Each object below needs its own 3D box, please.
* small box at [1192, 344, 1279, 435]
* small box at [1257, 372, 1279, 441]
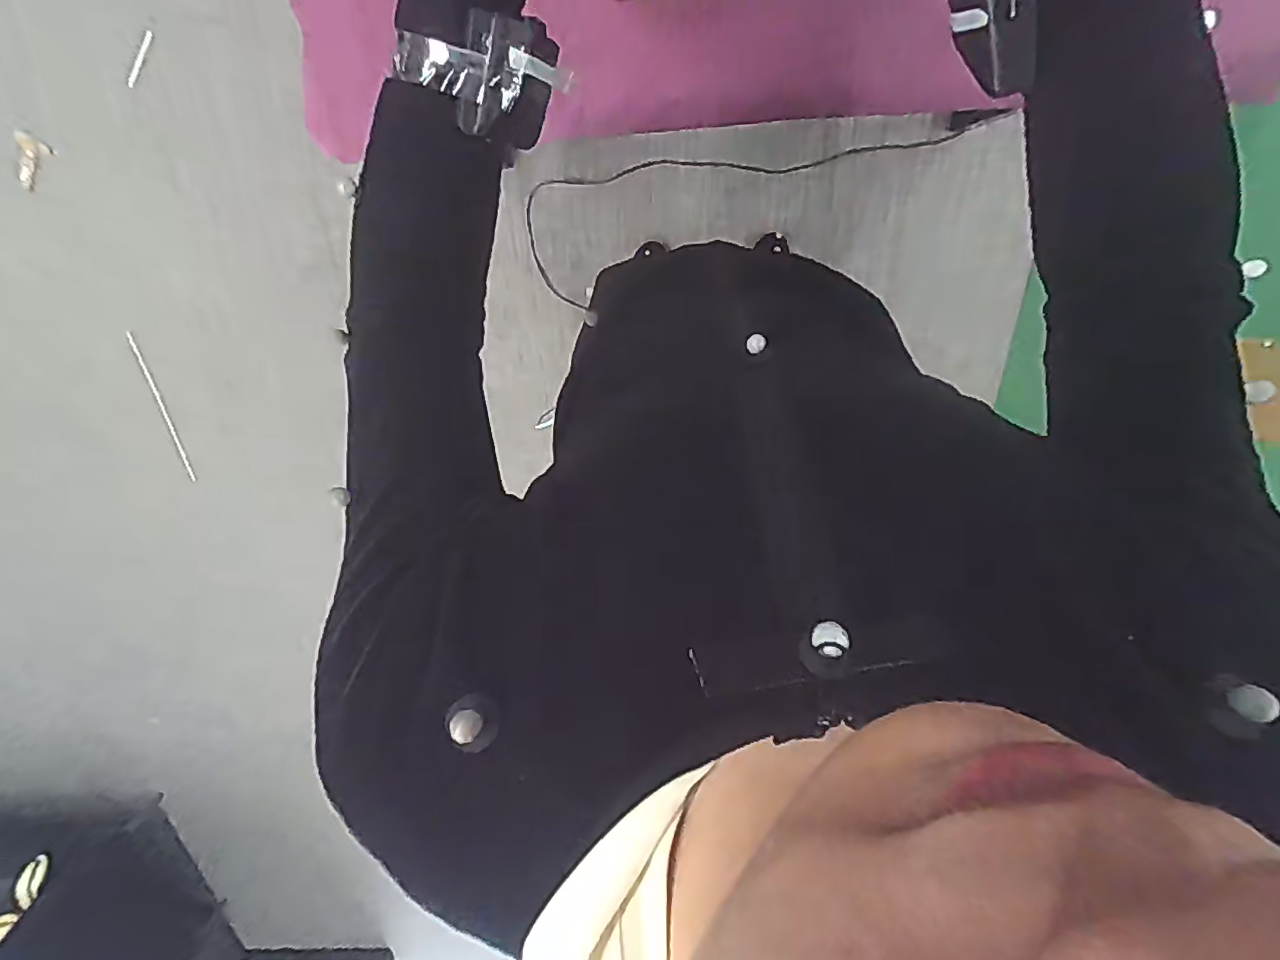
[{"bbox_3d":[1.500,-0.221,1.298,0.168,0.176,0.179,-4,113,4],"label":"small box"},{"bbox_3d":[1.496,-0.157,1.147,0.168,0.176,0.179,-5,114,5],"label":"small box"}]
